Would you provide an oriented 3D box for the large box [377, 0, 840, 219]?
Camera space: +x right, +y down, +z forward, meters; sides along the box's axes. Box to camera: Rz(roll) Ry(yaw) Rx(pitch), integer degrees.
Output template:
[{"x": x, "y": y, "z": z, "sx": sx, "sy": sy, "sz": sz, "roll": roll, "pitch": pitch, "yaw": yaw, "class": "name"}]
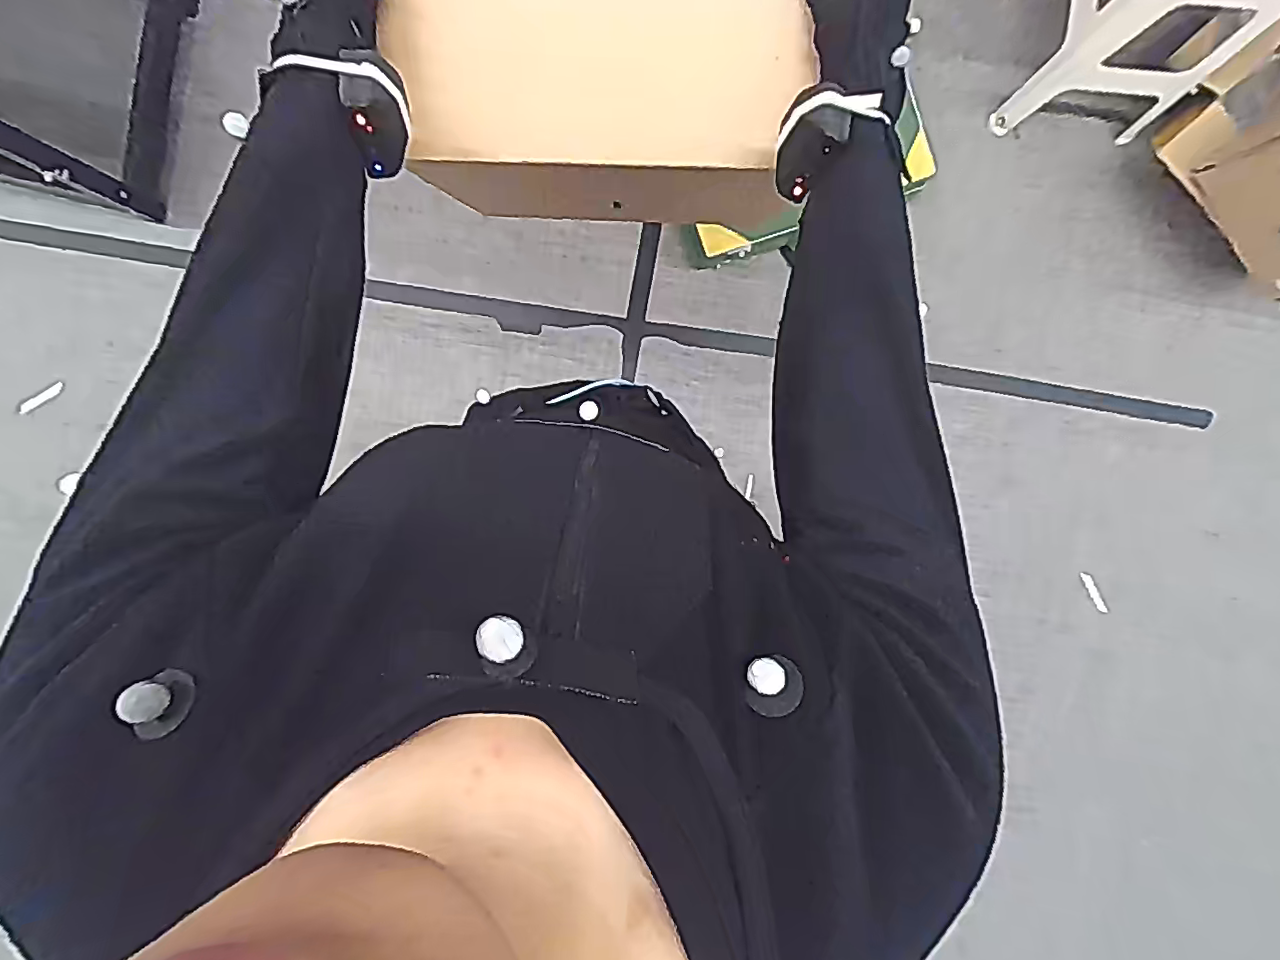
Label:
[{"x": -0.022, "y": -0.479, "z": 0.596, "sx": 0.408, "sy": 0.320, "sz": 0.320, "roll": 2, "pitch": 106, "yaw": 1, "class": "large box"}]
